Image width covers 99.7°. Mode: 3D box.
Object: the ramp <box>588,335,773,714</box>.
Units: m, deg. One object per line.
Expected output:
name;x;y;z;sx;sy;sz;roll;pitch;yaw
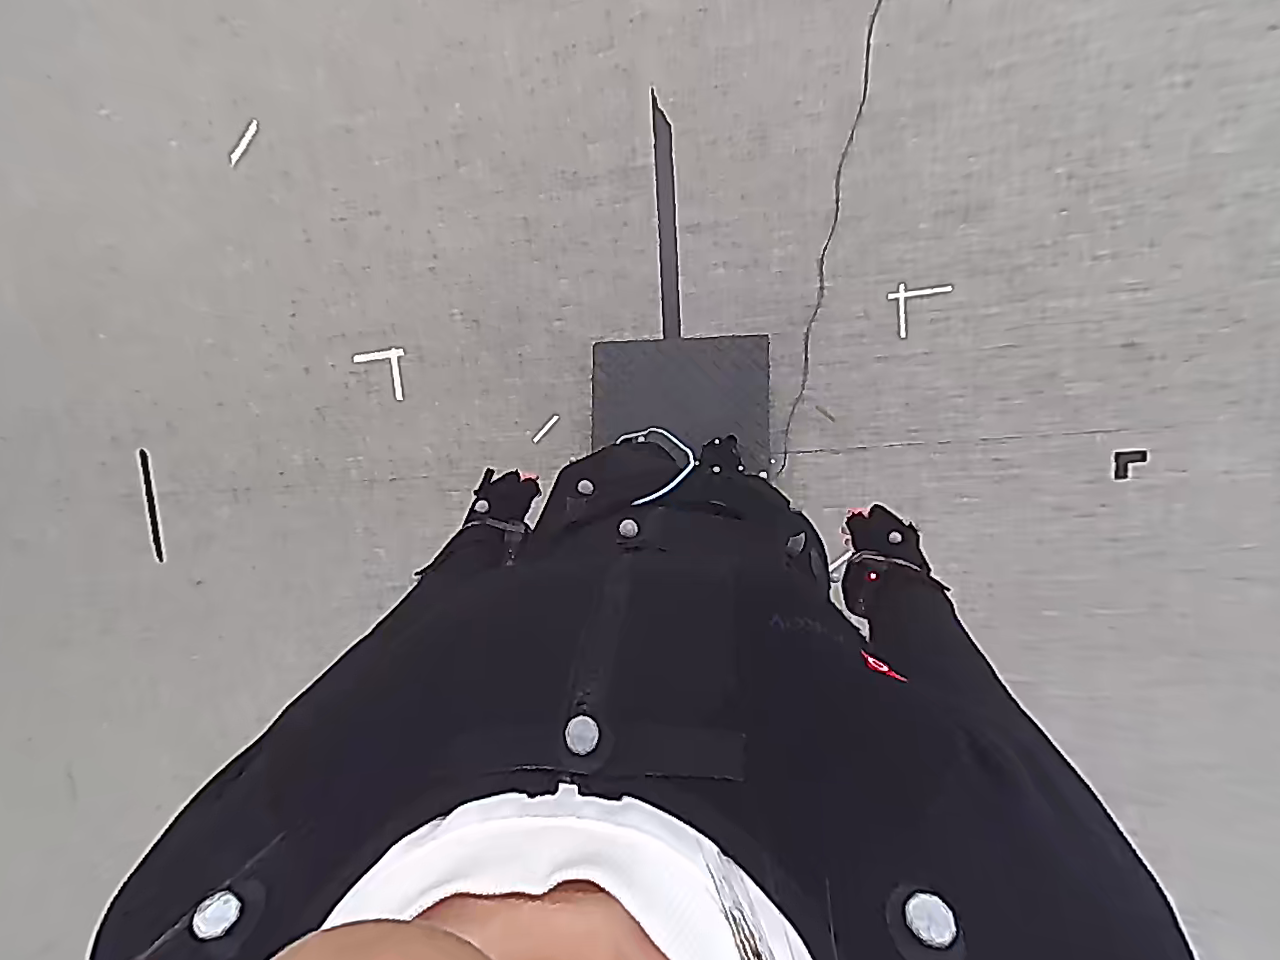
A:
ramp;0.102;0.103;1.465;0.509;0.206;0.991;-2;94;11
